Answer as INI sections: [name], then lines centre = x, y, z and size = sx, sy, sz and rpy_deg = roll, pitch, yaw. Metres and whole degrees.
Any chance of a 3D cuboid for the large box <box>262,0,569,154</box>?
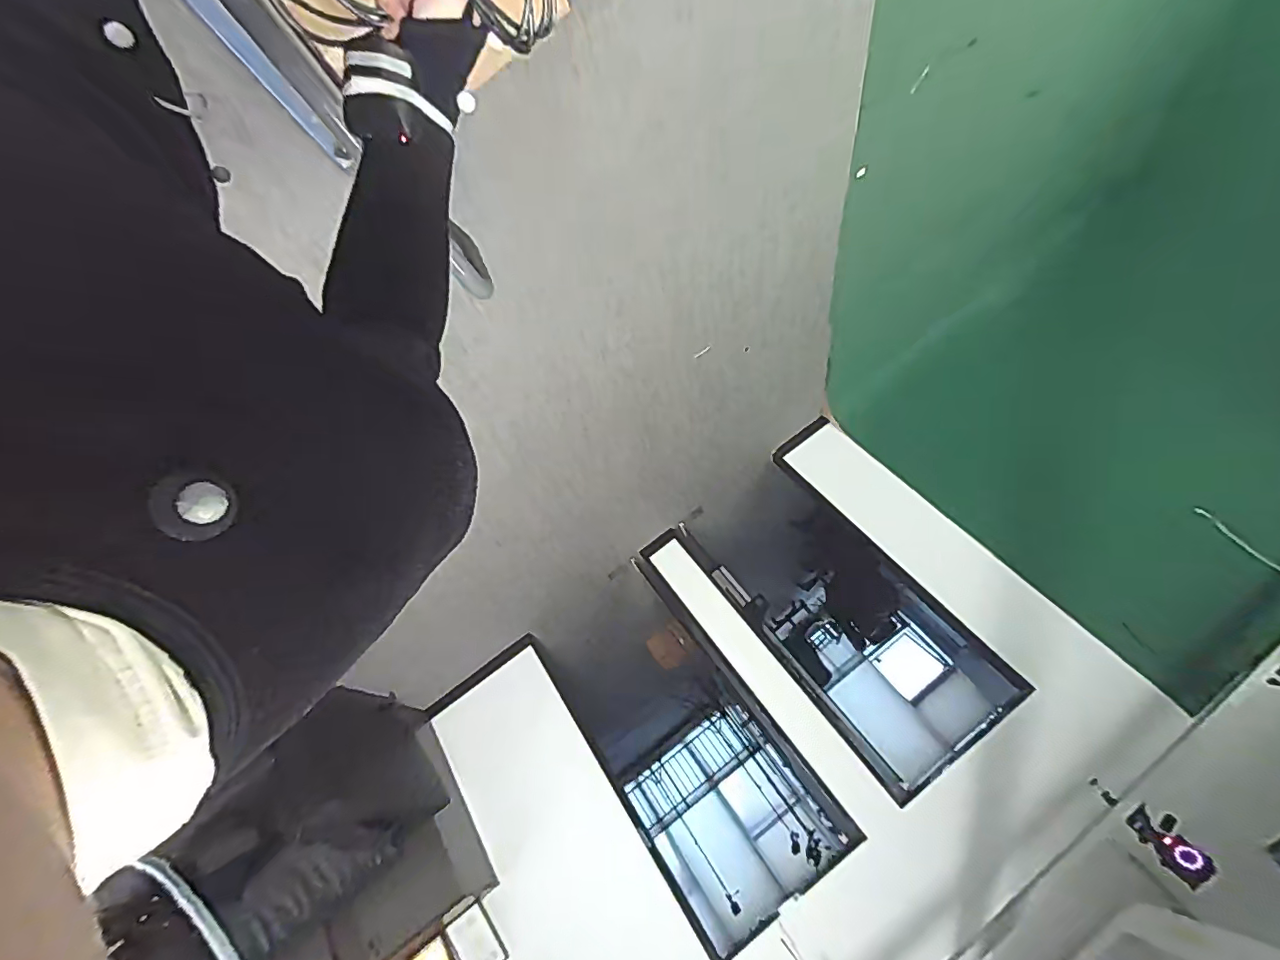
[large box]
centre = -0.405, -0.847, 0.888
size = 0.408, 0.320, 0.320
rpy_deg = -41, 151, -1
